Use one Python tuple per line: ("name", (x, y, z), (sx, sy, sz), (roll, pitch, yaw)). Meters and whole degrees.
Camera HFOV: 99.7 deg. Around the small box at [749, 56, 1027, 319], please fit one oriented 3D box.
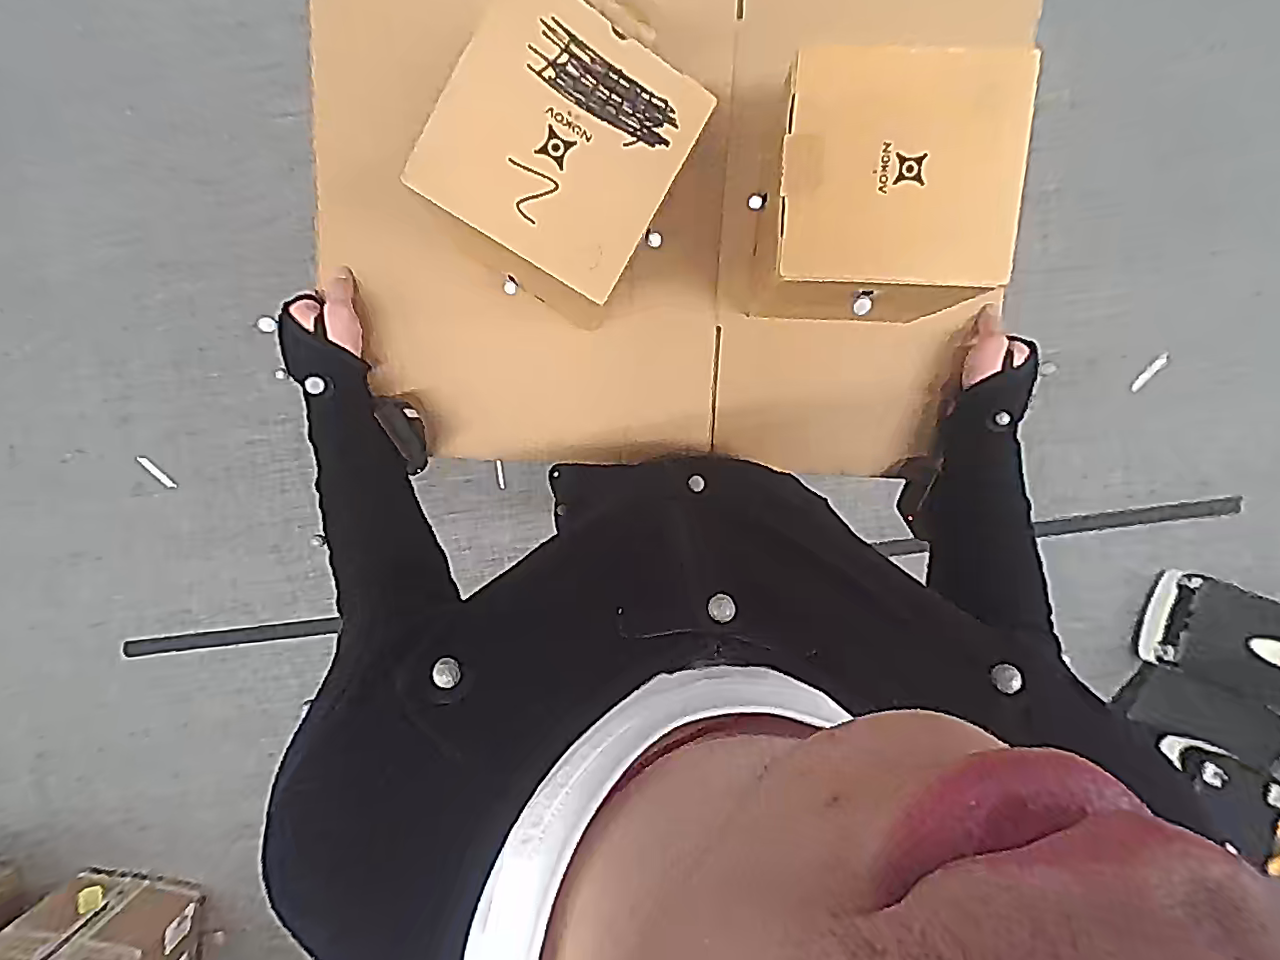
("small box", (0.205, -0.248, 0.498), (0.179, 0.176, 0.168), (3, 97, 4))
